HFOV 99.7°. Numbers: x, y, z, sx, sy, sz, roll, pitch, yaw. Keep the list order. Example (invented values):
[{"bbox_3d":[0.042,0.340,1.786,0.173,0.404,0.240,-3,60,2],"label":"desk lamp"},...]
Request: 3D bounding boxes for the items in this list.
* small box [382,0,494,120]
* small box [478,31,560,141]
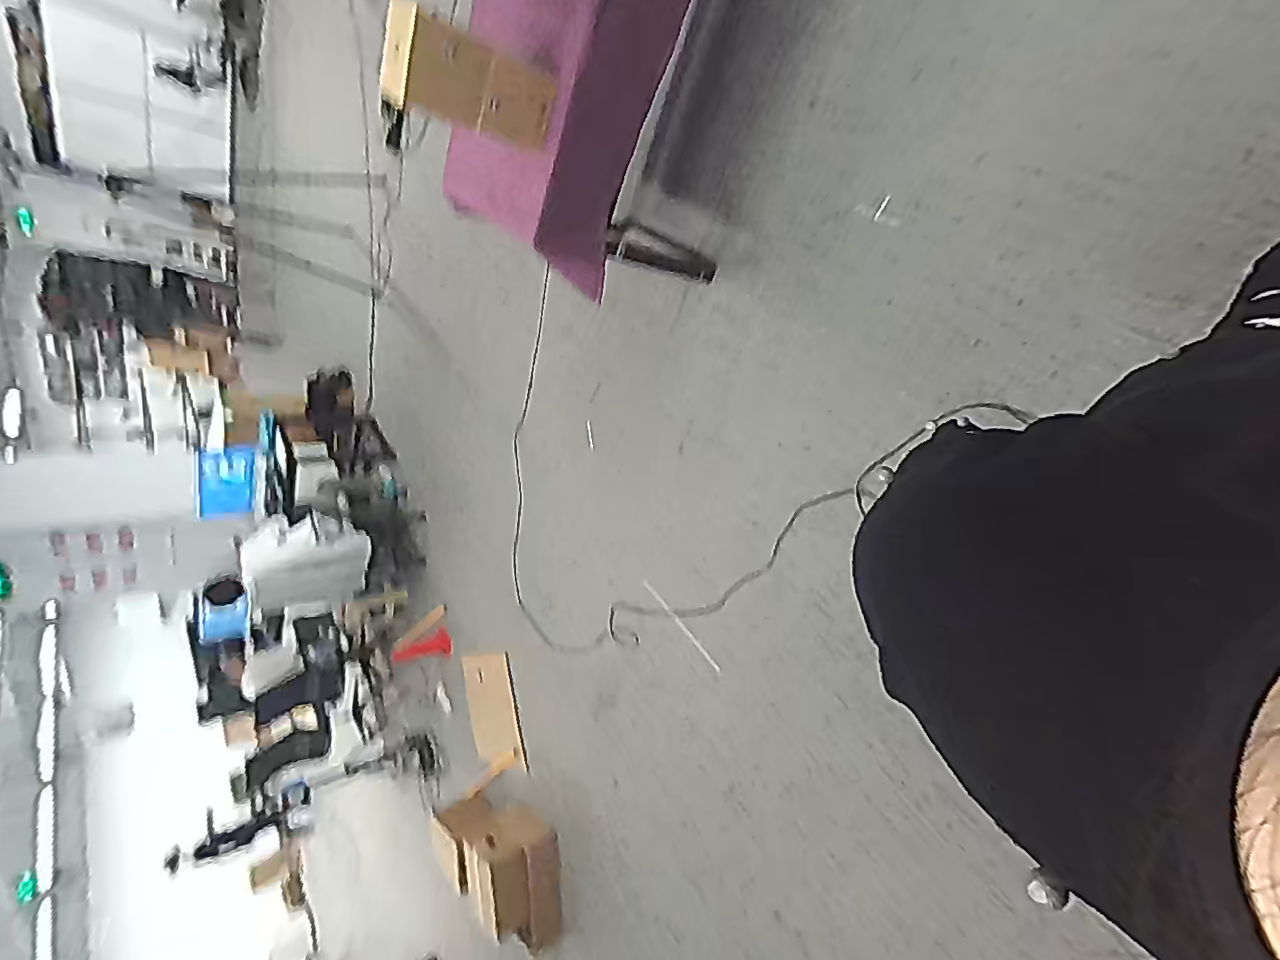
[{"bbox_3d":[-0.437,-0.927,1.175,0.168,0.176,0.179,48,127,32],"label":"small box"},{"bbox_3d":[-0.319,-0.940,1.288,0.179,0.176,0.168,47,127,33],"label":"small box"}]
